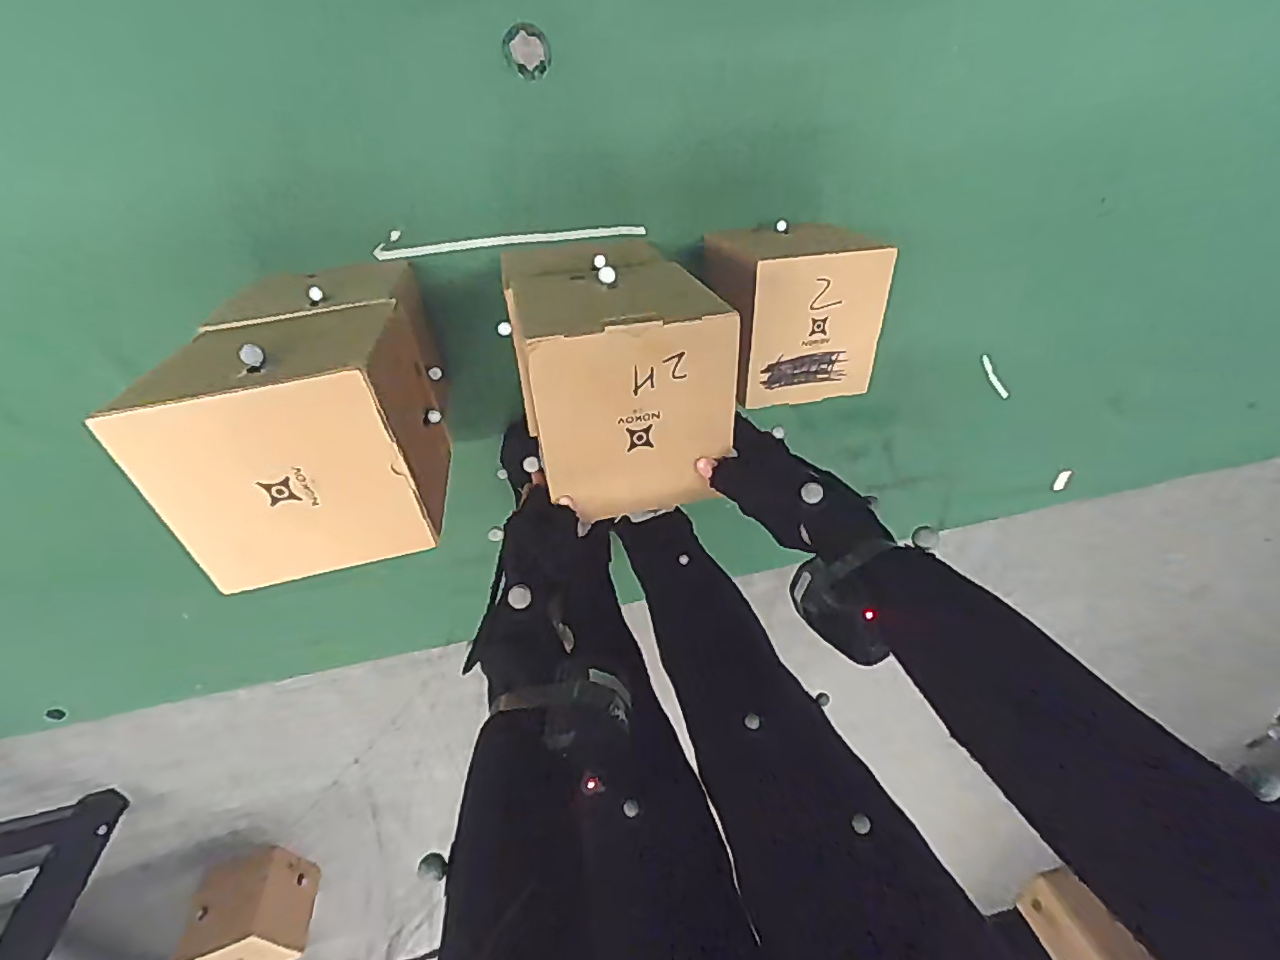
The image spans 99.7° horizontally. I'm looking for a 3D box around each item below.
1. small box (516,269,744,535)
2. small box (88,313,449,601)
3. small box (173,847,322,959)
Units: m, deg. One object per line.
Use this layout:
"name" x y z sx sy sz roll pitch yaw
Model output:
"small box" -0.017 -0.079 0.500 0.168 0.176 0.179 -10 126 -10
"small box" -0.278 -0.029 0.462 0.179 0.176 0.168 -13 125 -7
"small box" -0.835 0.939 1.172 0.179 0.176 0.168 -20 127 -1
